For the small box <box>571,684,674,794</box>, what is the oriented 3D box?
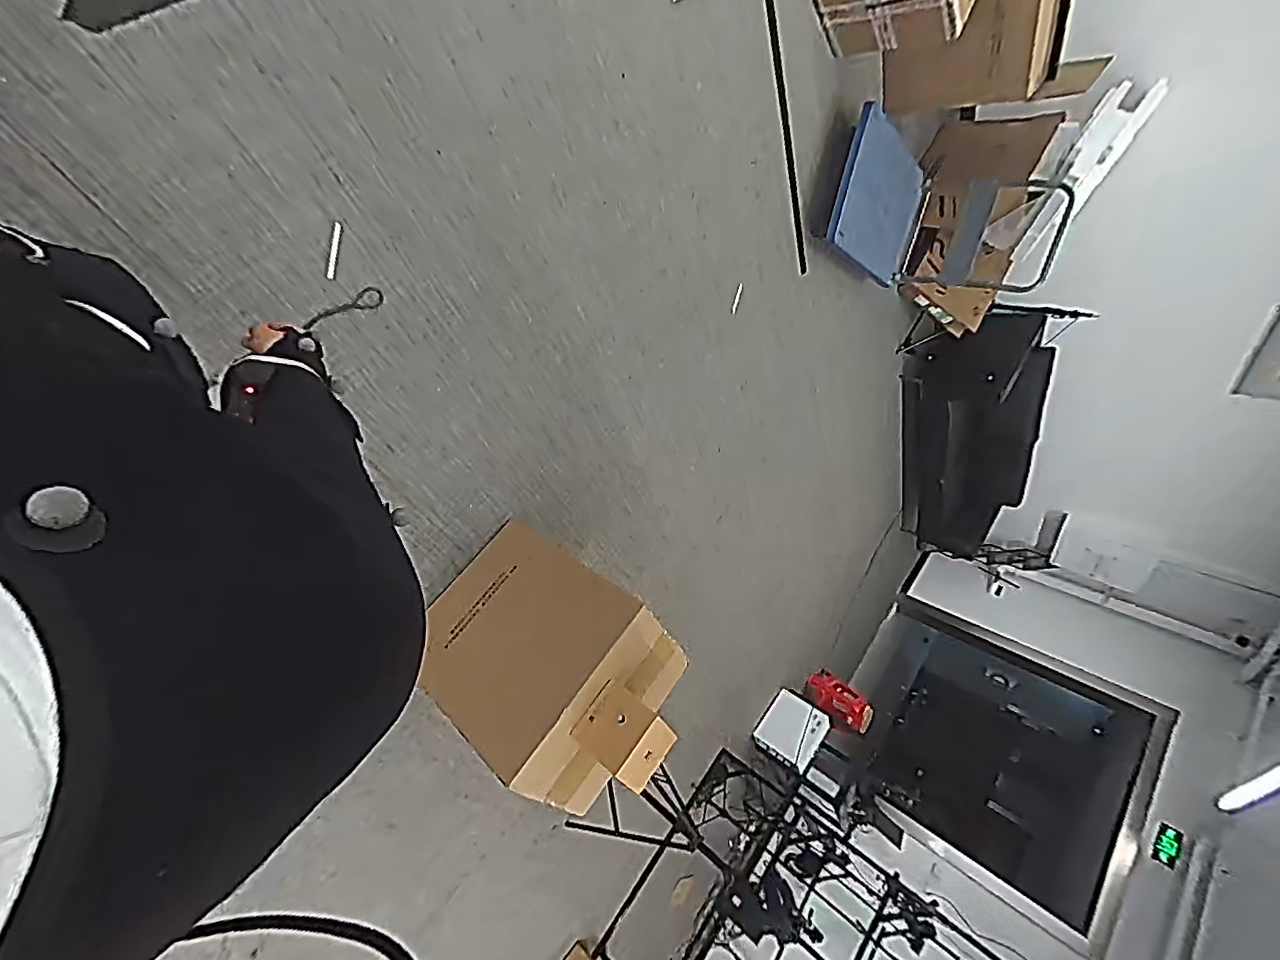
[{"bbox_3d":[-0.045,0.643,1.357,0.168,0.176,0.179,-50,139,-22],"label":"small box"}]
